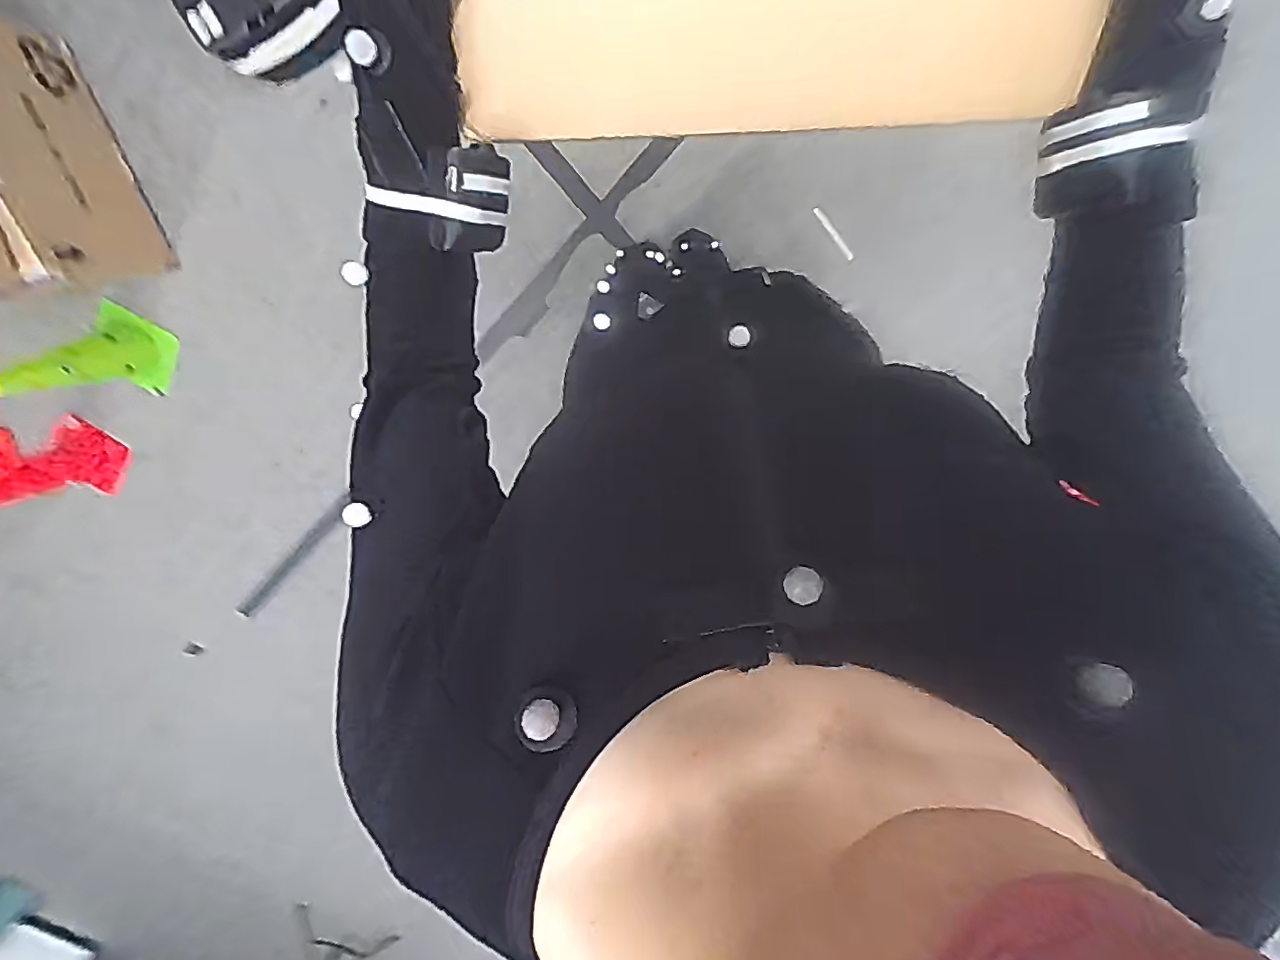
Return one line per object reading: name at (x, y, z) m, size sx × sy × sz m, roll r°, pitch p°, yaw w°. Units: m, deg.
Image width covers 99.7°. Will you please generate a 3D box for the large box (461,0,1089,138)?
large box at (0.079, -0.456, 0.414) m, size 0.408 × 0.320 × 0.320 m, roll -1°, pitch 124°, yaw 0°
